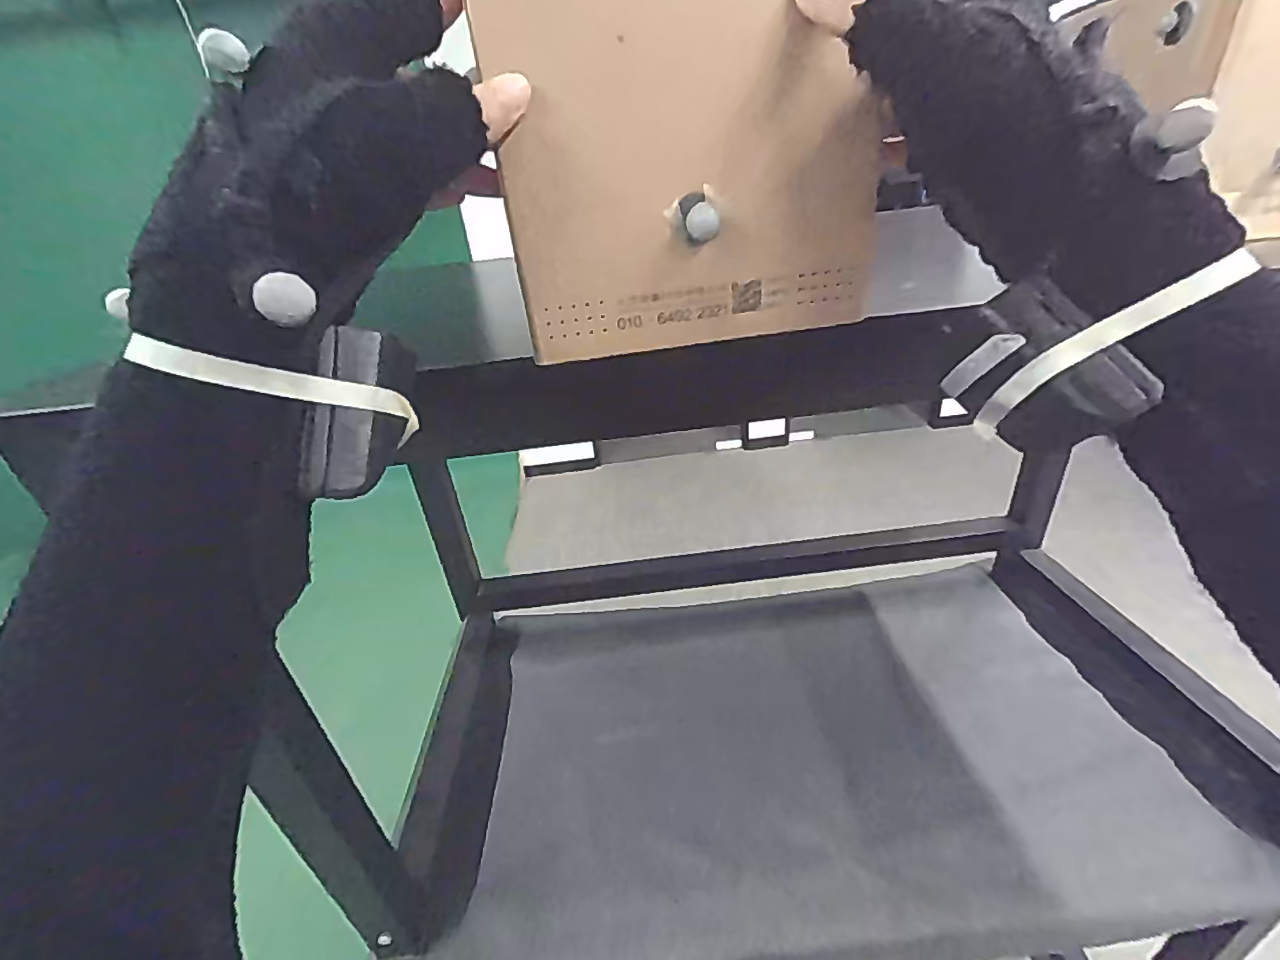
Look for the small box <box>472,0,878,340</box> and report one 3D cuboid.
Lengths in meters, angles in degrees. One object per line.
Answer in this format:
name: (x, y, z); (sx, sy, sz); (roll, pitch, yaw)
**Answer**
small box: (0.009, -0.186, 0.305); (0.168, 0.176, 0.179); (-9, 30, -4)
